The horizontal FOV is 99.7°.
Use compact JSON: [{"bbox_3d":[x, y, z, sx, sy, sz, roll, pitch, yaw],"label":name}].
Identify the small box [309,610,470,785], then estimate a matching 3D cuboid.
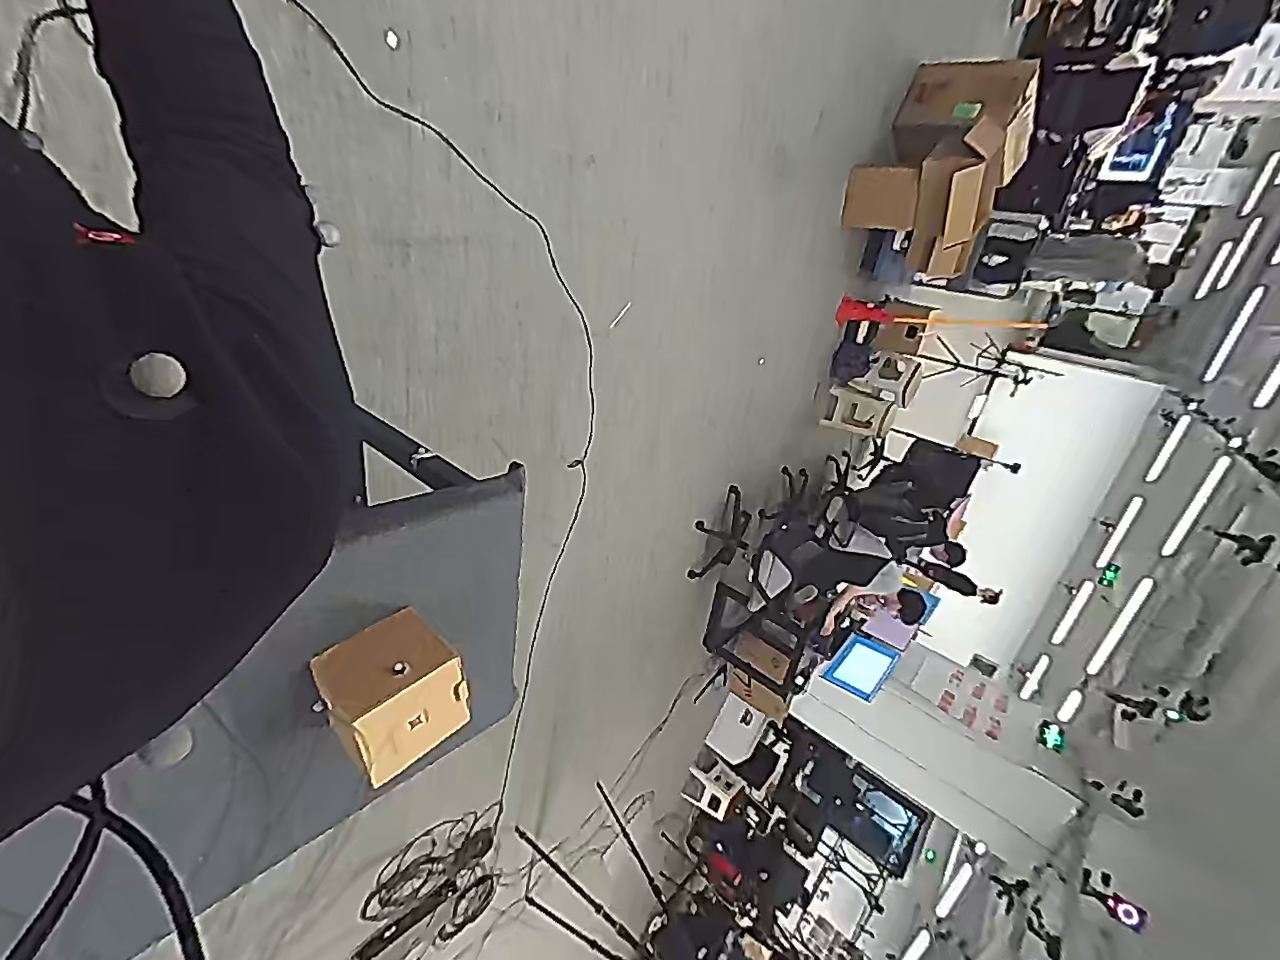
[{"bbox_3d":[-0.417,0.353,0.912,0.179,0.176,0.168,-28,131,-40],"label":"small box"}]
